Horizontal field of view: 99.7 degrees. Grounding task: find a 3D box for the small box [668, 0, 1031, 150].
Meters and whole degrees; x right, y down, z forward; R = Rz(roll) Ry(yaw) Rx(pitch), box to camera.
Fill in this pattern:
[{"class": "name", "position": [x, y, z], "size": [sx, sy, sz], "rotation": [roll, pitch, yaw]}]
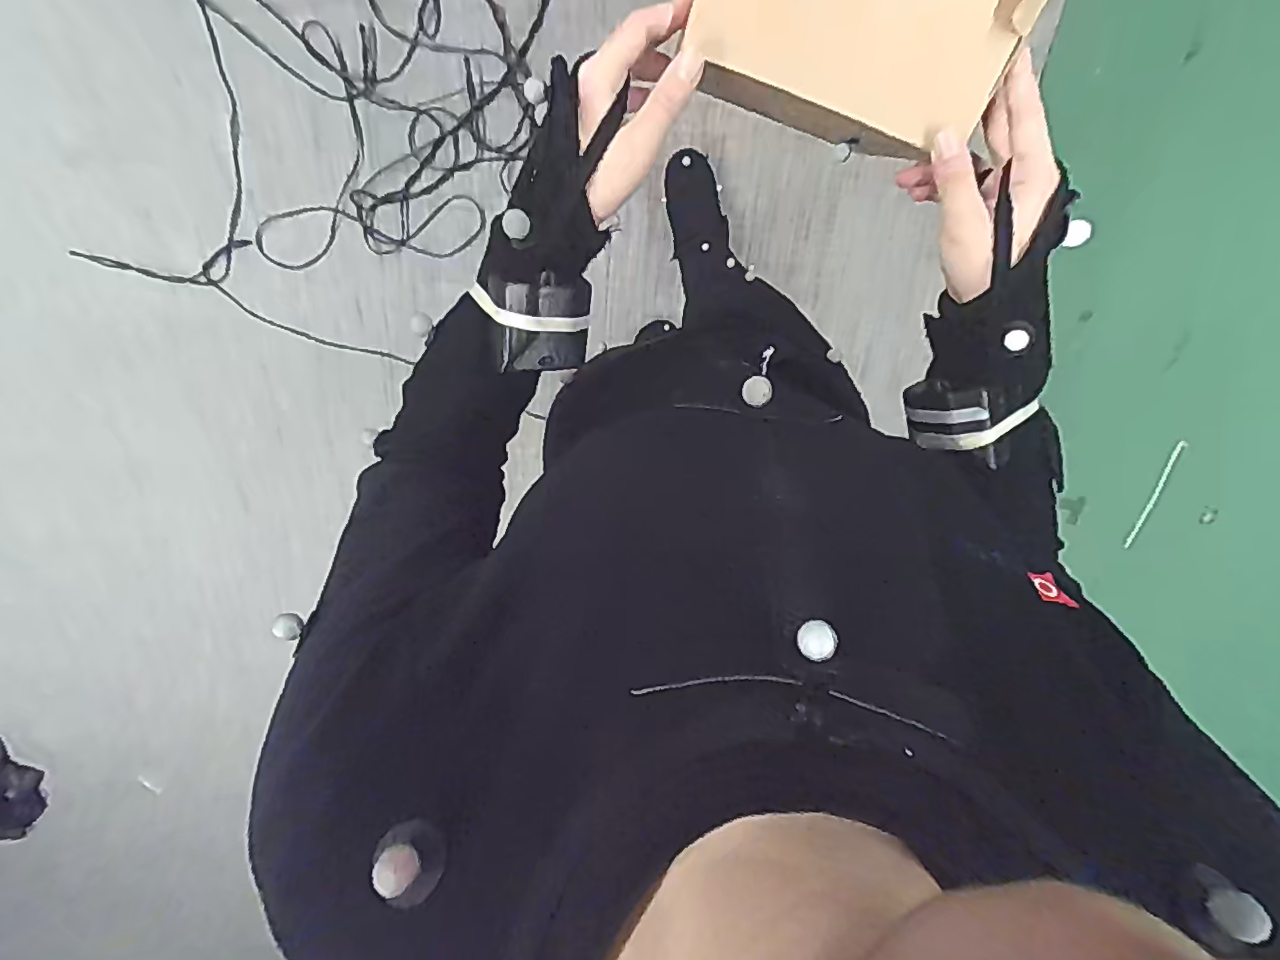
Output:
[{"class": "small box", "position": [0.124, -0.320, 0.329], "size": [0.179, 0.176, 0.168], "rotation": [14, 120, -7]}]
